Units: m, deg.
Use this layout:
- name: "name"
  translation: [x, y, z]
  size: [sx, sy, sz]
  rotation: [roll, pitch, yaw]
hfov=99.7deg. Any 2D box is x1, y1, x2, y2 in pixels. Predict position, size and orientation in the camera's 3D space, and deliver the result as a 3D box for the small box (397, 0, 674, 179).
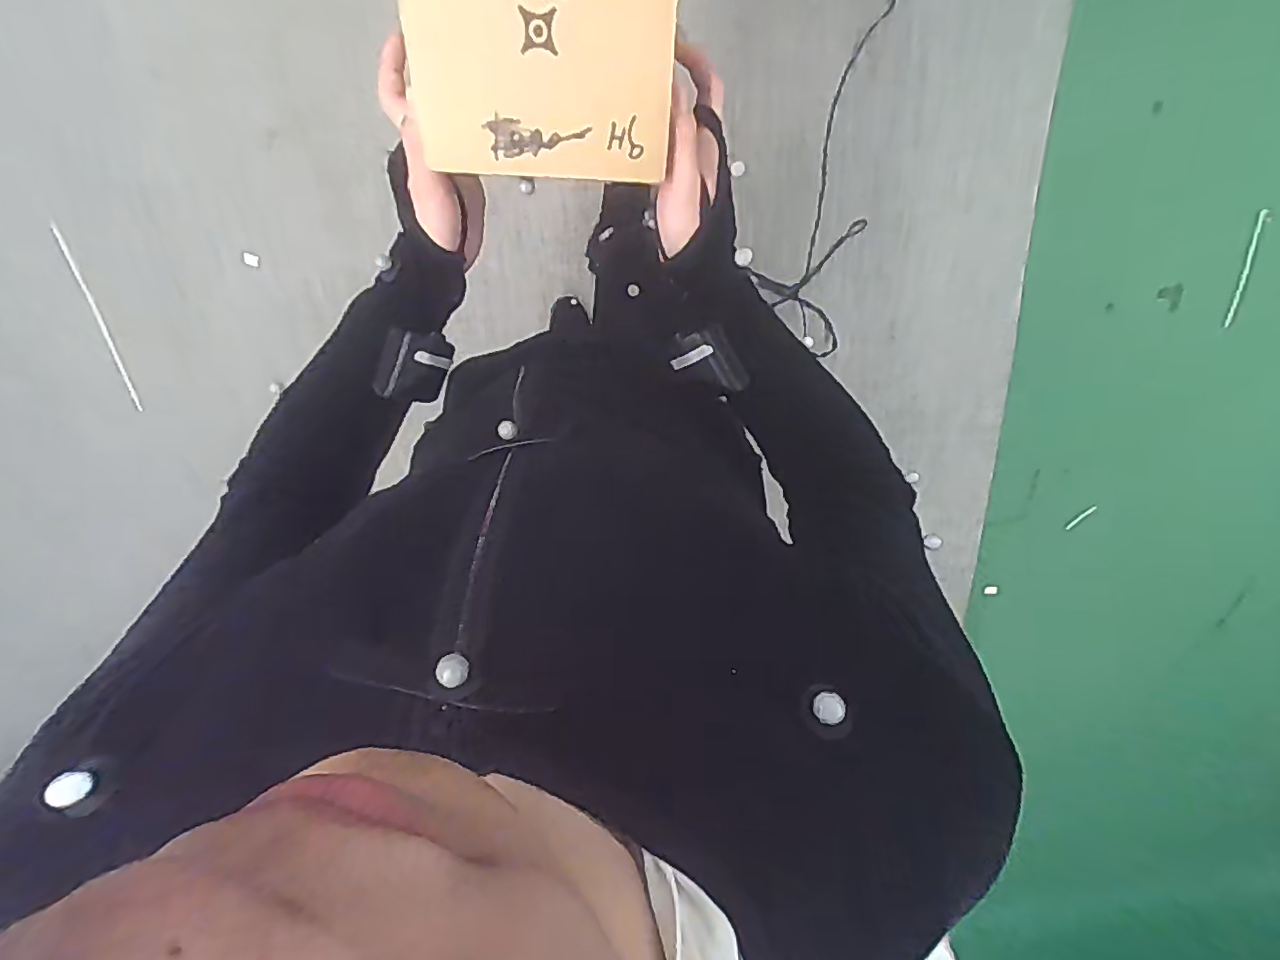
- name: "small box"
  translation: [-0.063, -0.327, 0.385]
  size: [0.168, 0.176, 0.179]
  rotation: [2, 125, -2]
